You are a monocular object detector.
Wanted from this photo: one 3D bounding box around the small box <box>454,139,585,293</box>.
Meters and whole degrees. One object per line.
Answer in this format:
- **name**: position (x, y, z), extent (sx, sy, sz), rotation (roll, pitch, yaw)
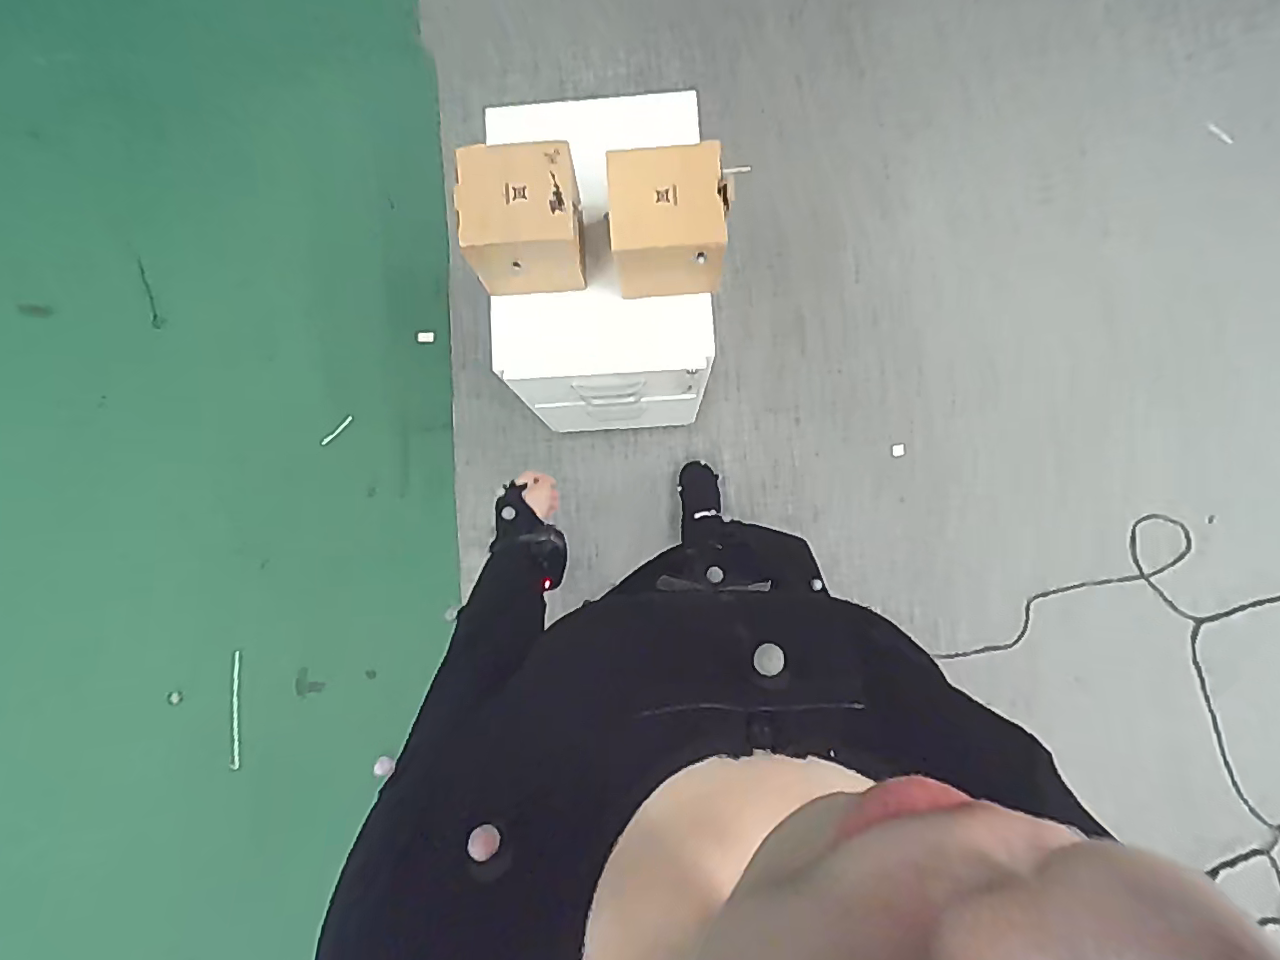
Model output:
- **small box**: position (-0.191, -0.423, 0.892), extent (0.179, 0.176, 0.168), rotation (-4, 84, 1)
